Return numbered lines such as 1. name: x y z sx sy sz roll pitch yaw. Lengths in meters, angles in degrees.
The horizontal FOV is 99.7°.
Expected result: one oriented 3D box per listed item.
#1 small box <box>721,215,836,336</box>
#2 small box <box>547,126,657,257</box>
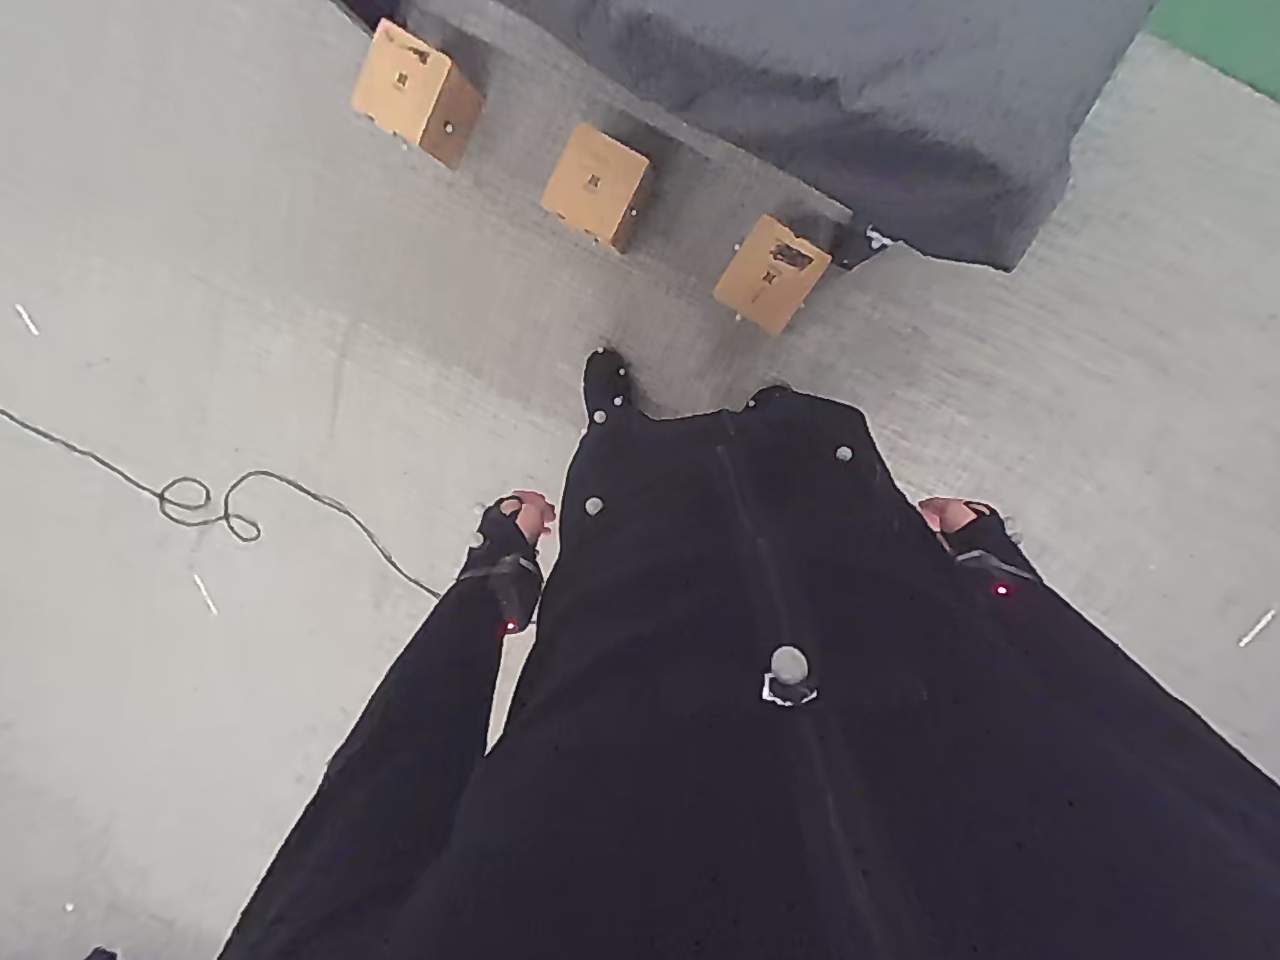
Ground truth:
1. small box: 0.285 -0.426 1.156 0.168 0.176 0.179 33 107 0
2. small box: -0.072 -0.610 1.172 0.168 0.176 0.179 29 104 0
